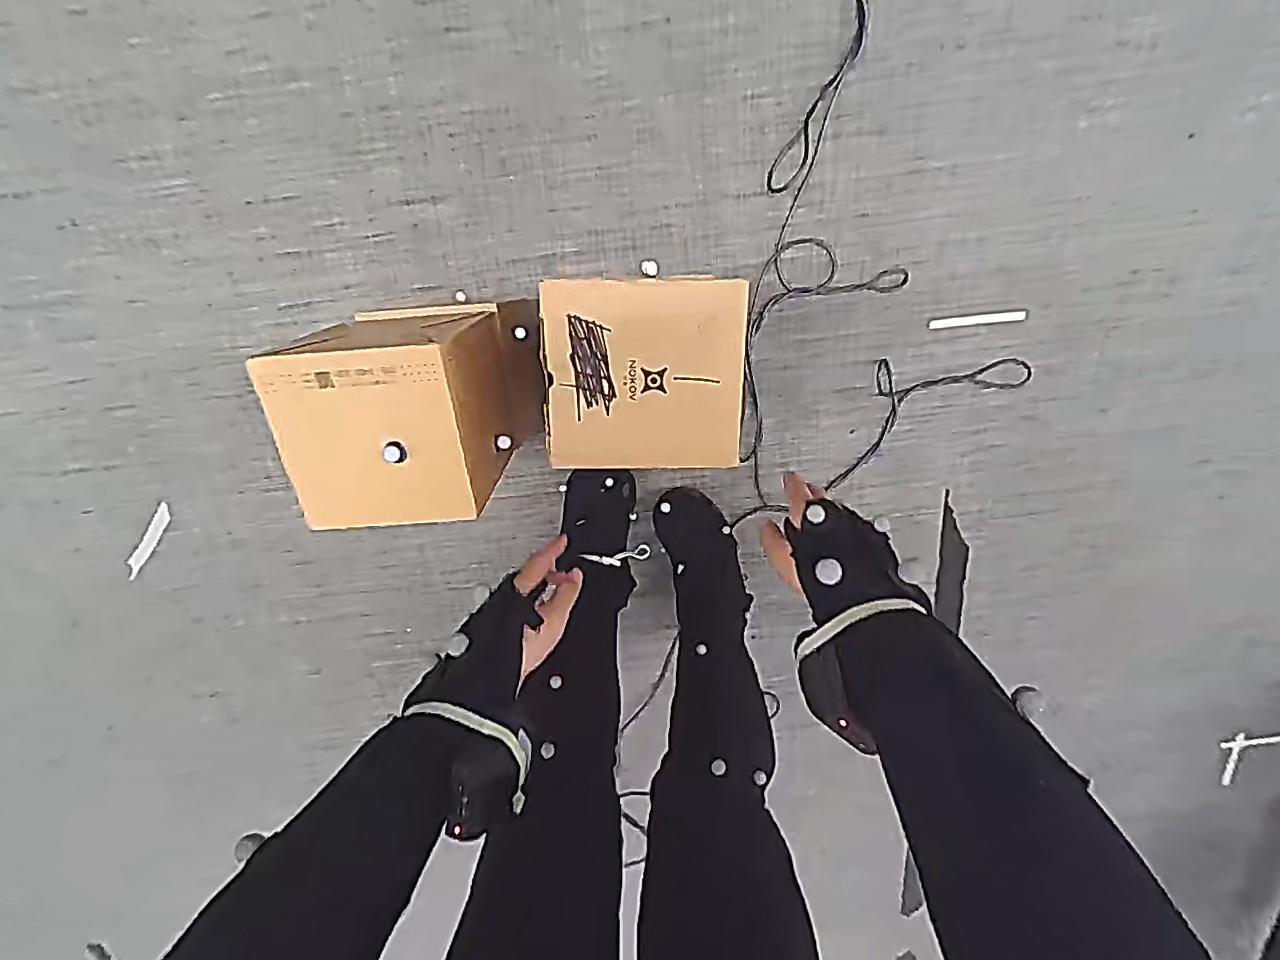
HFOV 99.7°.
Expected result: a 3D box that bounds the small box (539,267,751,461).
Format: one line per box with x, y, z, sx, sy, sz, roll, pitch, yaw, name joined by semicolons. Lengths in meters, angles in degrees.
0.002;-0.121;0.542;0.179;0.176;0.168;0;110;-2;small box
